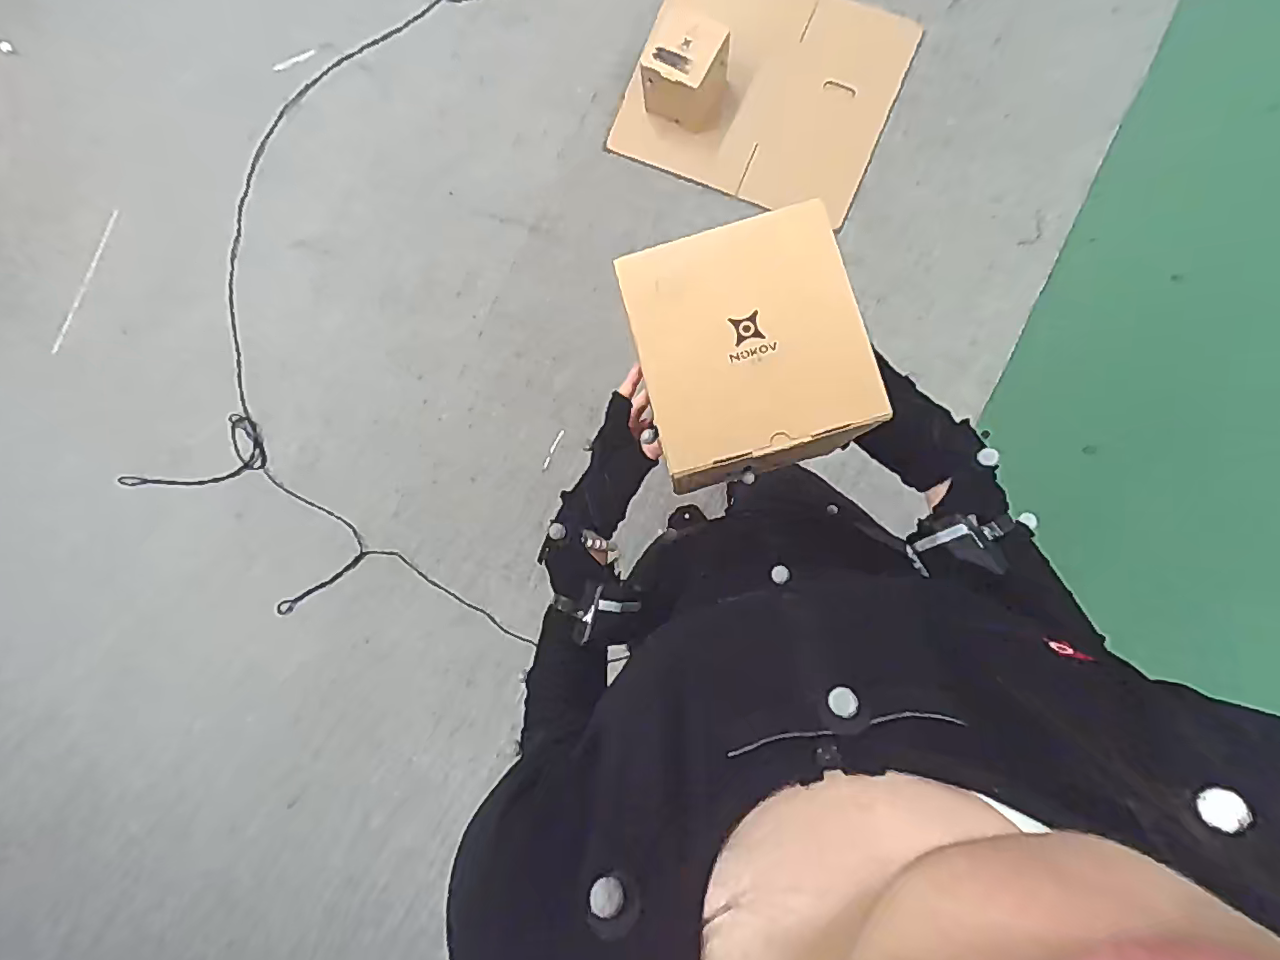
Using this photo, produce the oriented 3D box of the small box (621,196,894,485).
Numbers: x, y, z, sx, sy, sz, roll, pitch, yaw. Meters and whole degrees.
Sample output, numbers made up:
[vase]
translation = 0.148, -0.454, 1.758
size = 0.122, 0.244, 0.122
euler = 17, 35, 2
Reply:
[small box]
translation = 0.088, -0.103, 0.479
size = 0.168, 0.176, 0.179
euler = -16, 84, 3
